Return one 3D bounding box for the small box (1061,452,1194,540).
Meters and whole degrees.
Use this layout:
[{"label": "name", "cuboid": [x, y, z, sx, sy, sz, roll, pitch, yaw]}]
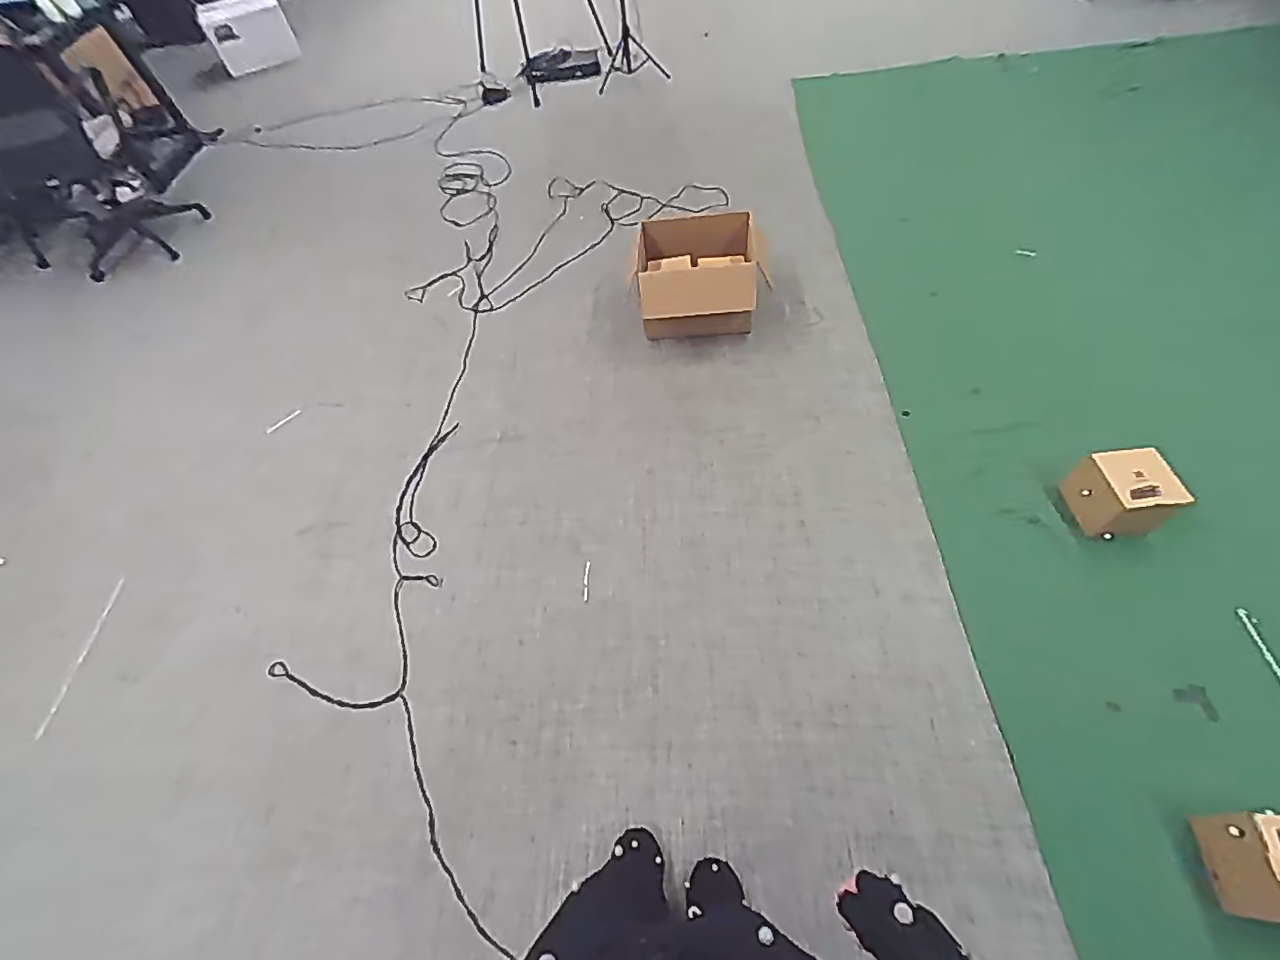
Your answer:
[{"label": "small box", "cuboid": [1.285, 0.049, 1.442, 0.168, 0.176, 0.179, -5, 55, 4]}]
